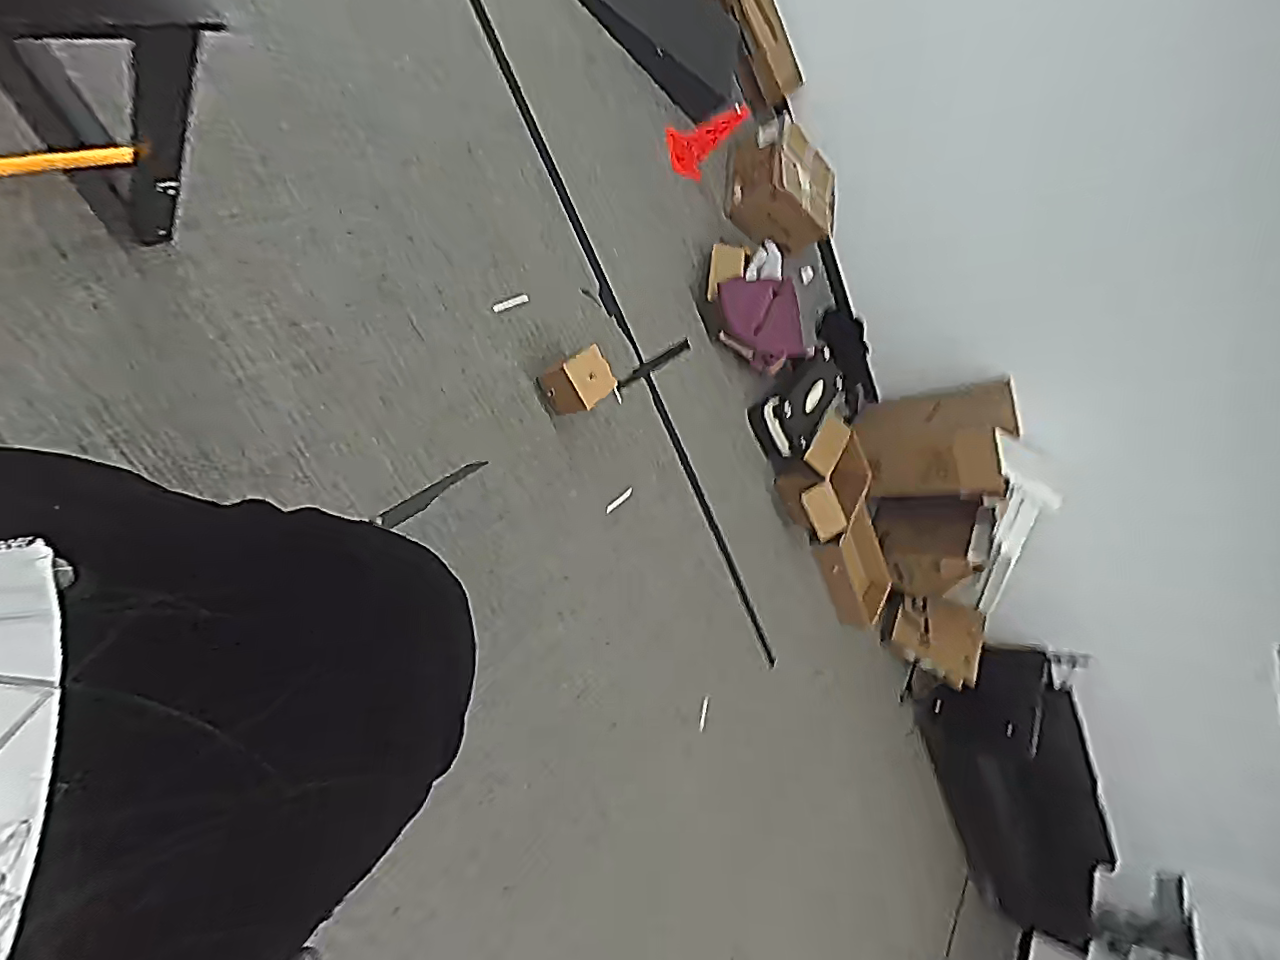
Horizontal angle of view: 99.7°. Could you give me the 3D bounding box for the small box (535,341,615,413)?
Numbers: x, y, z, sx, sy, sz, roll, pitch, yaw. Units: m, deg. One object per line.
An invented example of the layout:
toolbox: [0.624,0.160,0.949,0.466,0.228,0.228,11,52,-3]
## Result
small box: [-0.226,-0.351,1.856,0.179,0.176,0.168,-47,116,-35]
